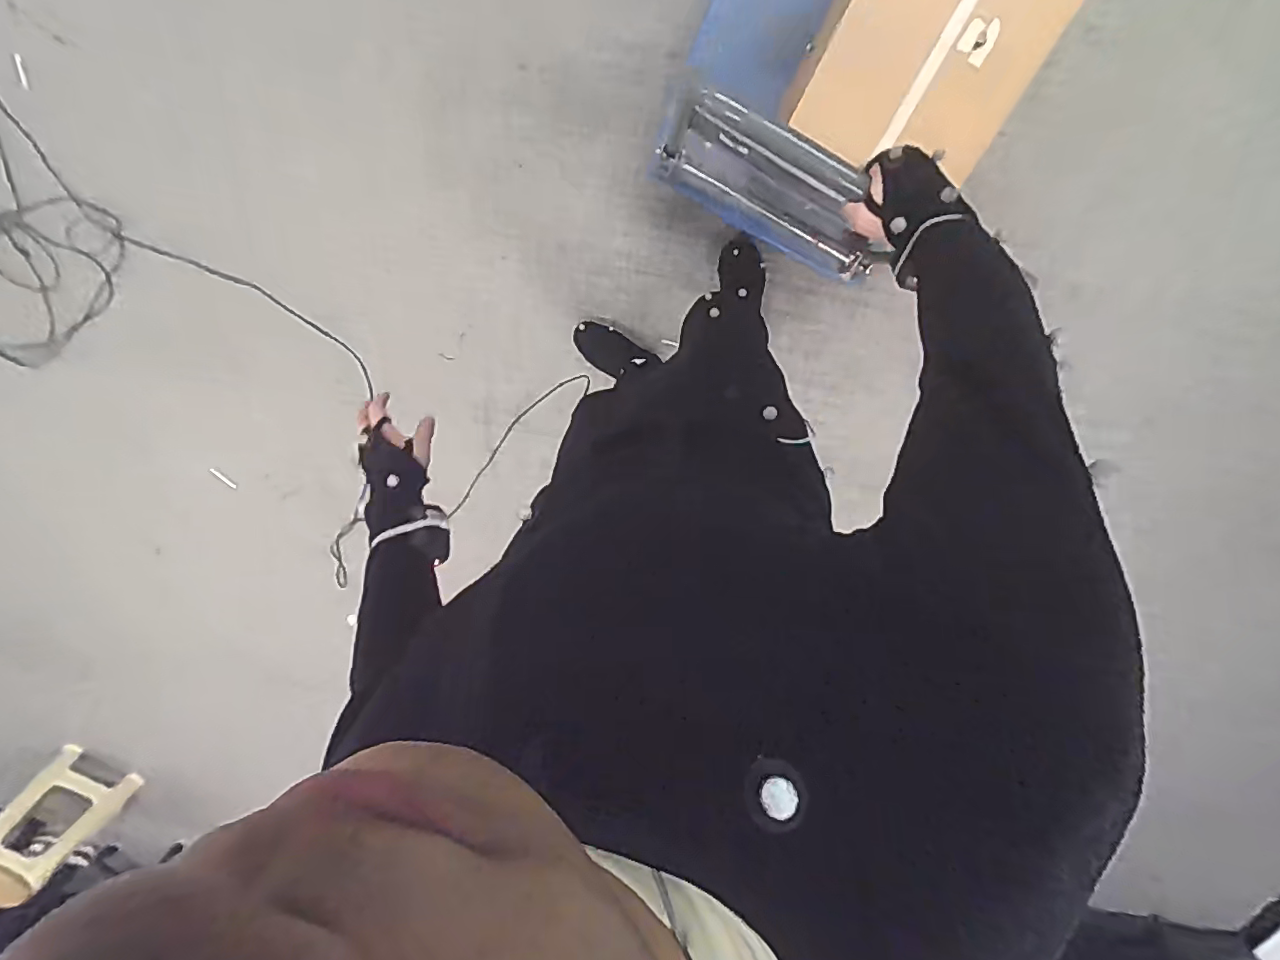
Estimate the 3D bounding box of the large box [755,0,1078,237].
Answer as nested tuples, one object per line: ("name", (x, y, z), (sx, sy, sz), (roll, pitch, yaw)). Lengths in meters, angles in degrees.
("large box", (0.454, -0.706, 0.983), (0.320, 0.320, 0.408), (24, 114, -9))
